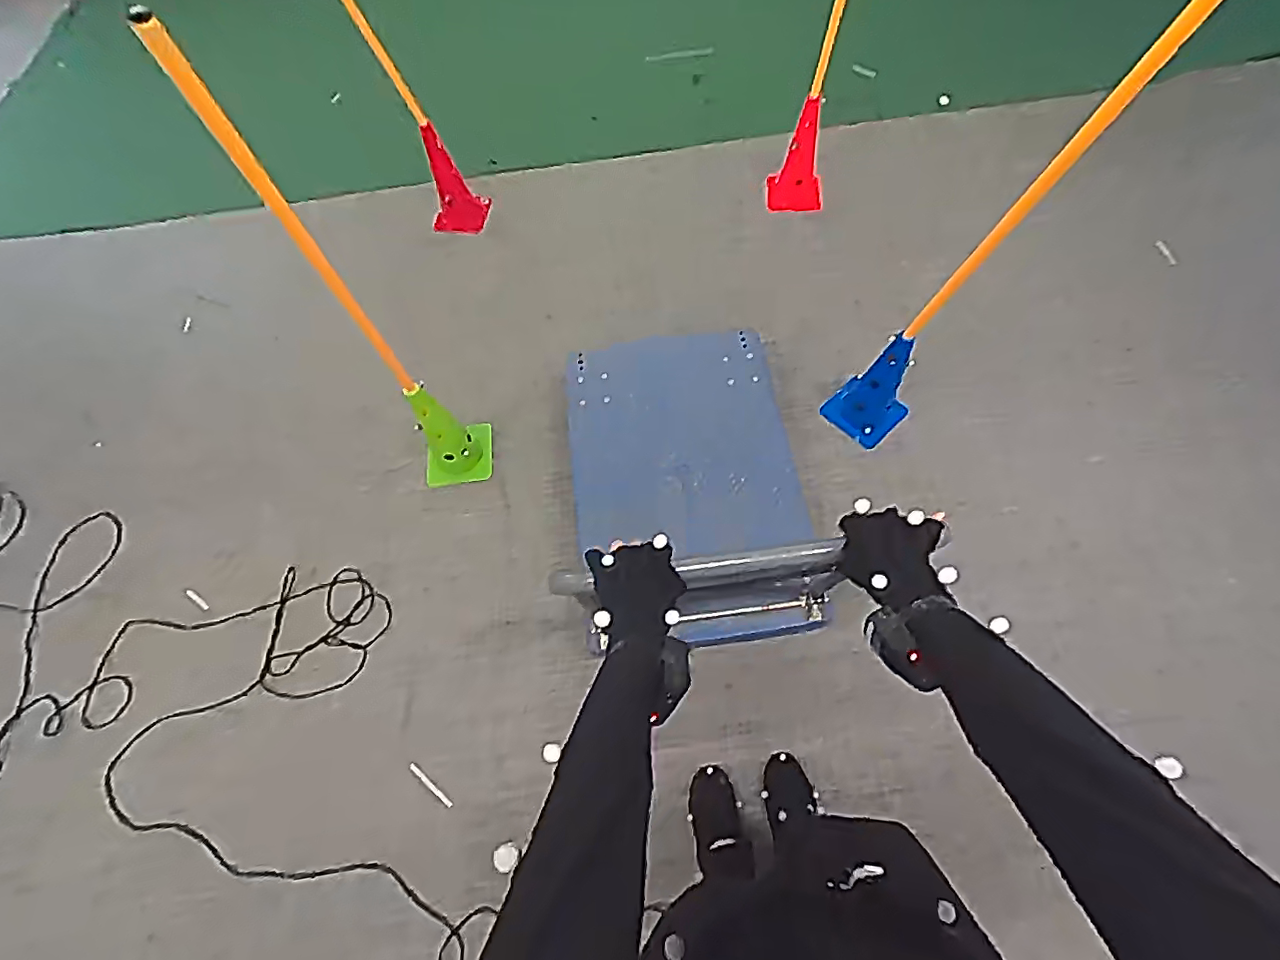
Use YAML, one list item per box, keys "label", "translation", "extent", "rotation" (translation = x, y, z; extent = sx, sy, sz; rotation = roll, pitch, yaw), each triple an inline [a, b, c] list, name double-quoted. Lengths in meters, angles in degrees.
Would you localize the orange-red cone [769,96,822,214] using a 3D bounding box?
- label: "orange-red cone"
  translation: [0.578, -1.155, 1.906]
  extent: [0.198, 0.360, 0.199]
  rotation: [3, 66, 6]
